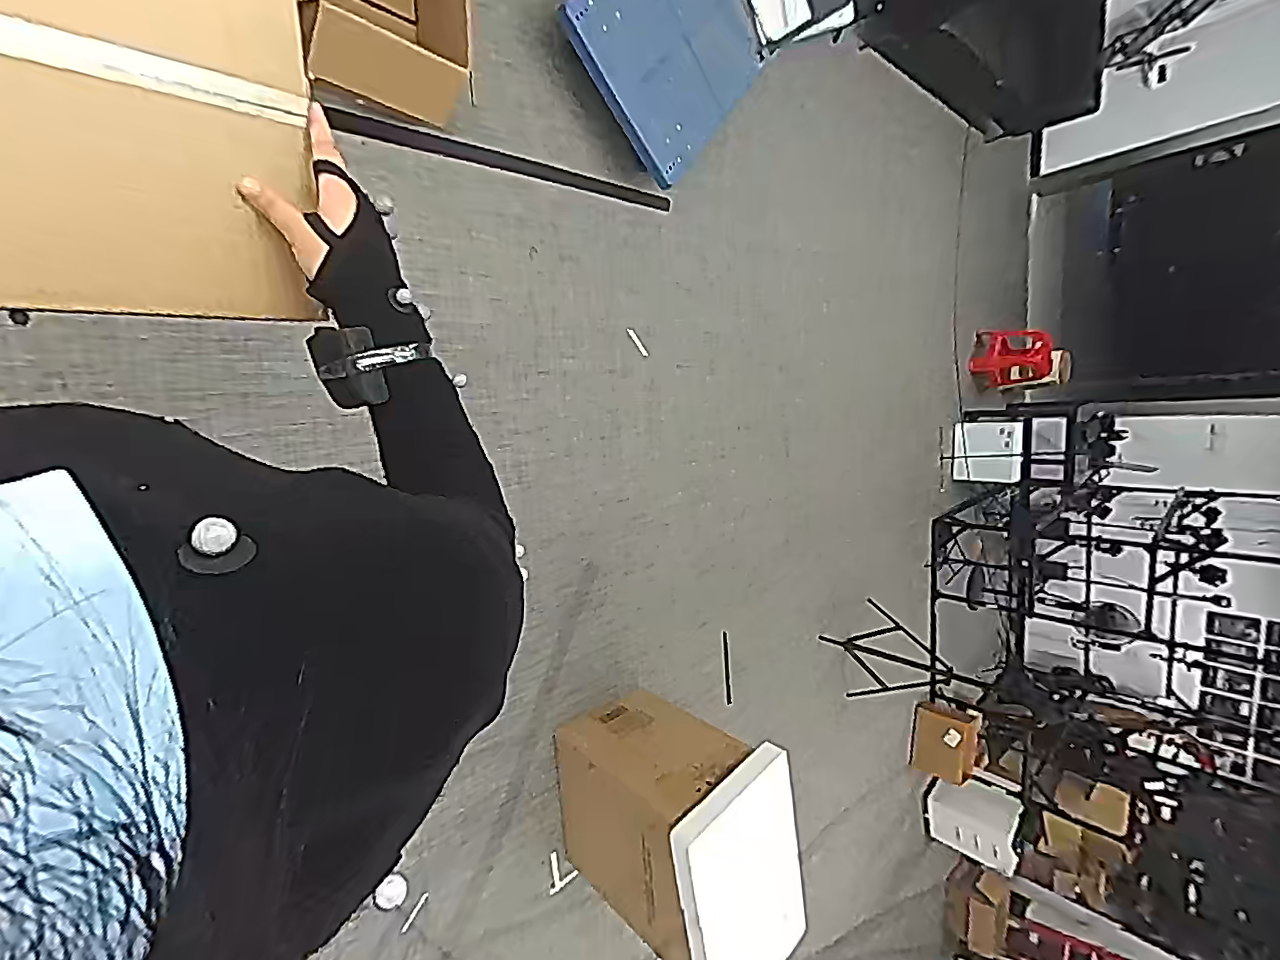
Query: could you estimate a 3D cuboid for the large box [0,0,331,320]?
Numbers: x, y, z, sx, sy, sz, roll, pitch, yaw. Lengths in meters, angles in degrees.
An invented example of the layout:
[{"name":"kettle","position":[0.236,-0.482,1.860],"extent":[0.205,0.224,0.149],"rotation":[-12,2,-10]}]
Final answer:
[{"name":"large box","position":[-0.507,-0.292,0.405],"extent":[0.408,0.320,0.320],"rotation":[-12,111,-40]}]
